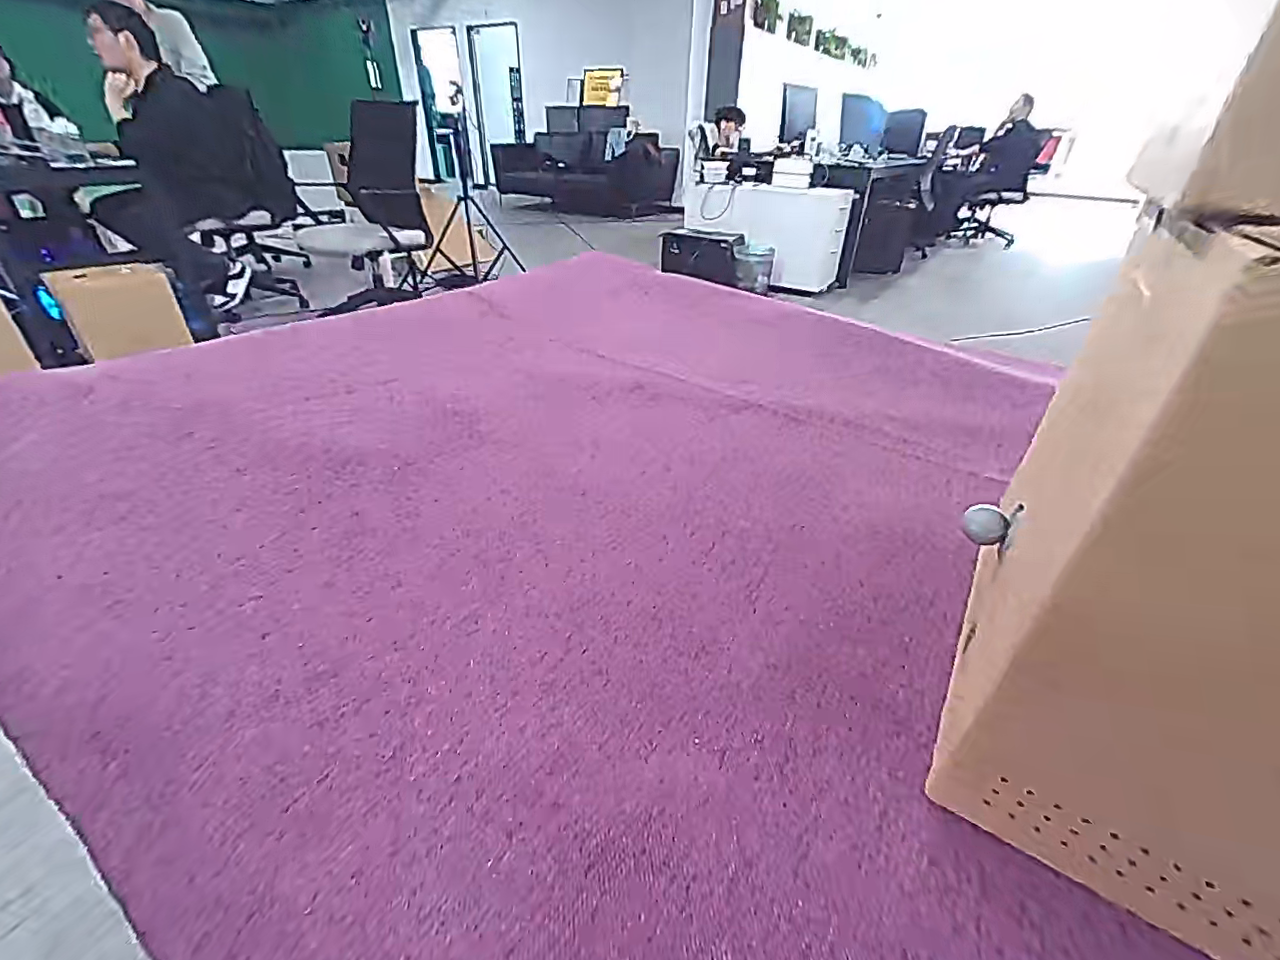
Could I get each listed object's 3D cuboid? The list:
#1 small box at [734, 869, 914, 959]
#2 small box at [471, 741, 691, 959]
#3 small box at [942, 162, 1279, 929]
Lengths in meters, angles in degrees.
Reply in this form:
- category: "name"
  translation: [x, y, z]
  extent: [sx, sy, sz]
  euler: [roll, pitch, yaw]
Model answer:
- category: "small box"
  translation: [0.166, 0.549, 0.528]
  extent: [0.179, 0.176, 0.168]
  euler: [21, 3, 25]
- category: "small box"
  translation: [-0.059, 0.449, 0.616]
  extent: [0.179, 0.176, 0.168]
  euler: [20, 38, 25]
- category: "small box"
  translation: [0.215, 0.017, 0.148]
  extent: [0.179, 0.176, 0.168]
  euler: [21, 36, 27]
